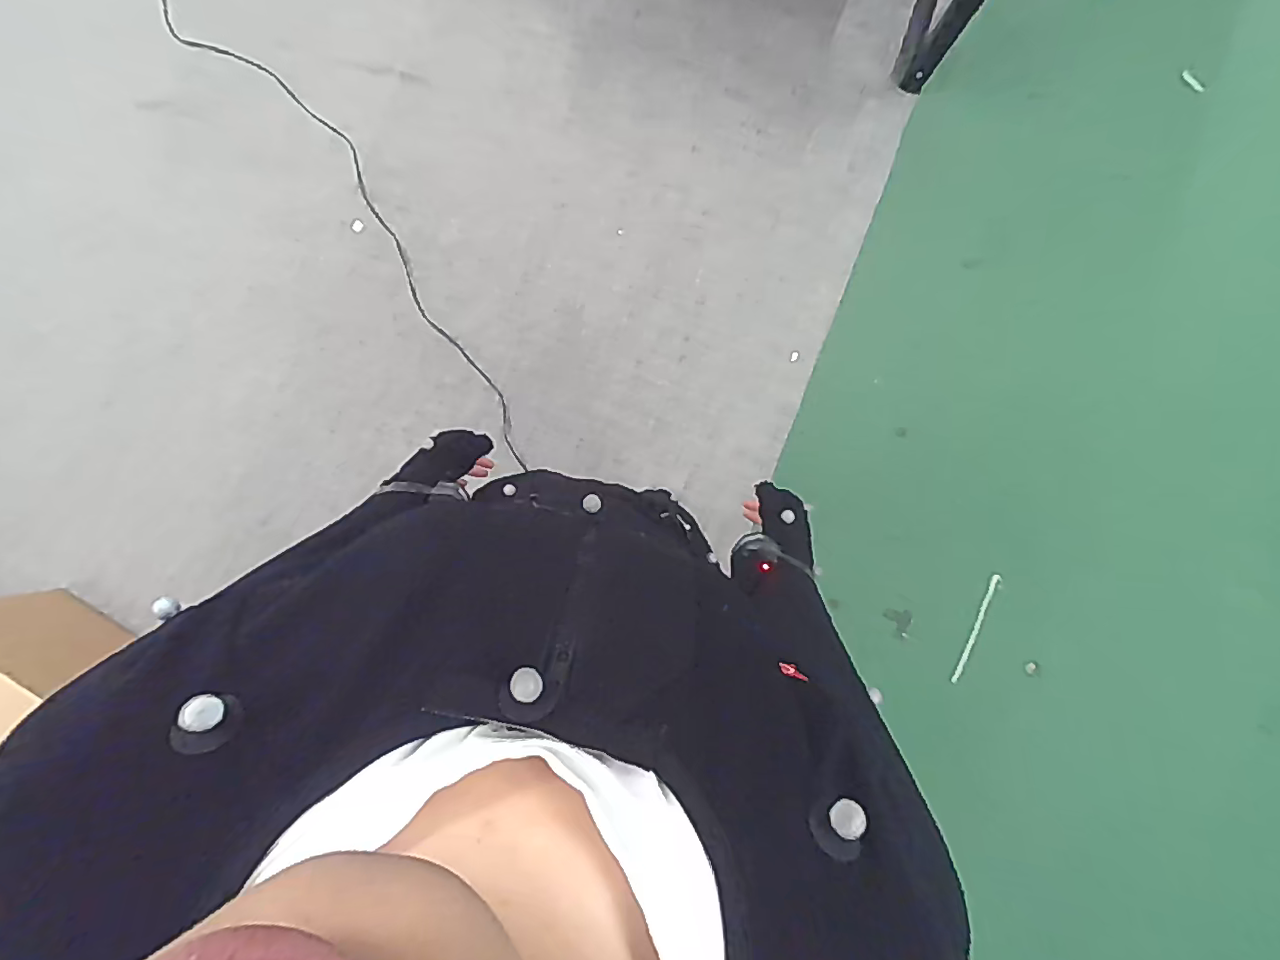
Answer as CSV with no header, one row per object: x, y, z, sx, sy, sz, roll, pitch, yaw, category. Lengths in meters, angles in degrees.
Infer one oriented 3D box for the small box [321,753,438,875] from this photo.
-0.627,0.807,1.328,0.179,0.176,0.168,21,88,2,small box
